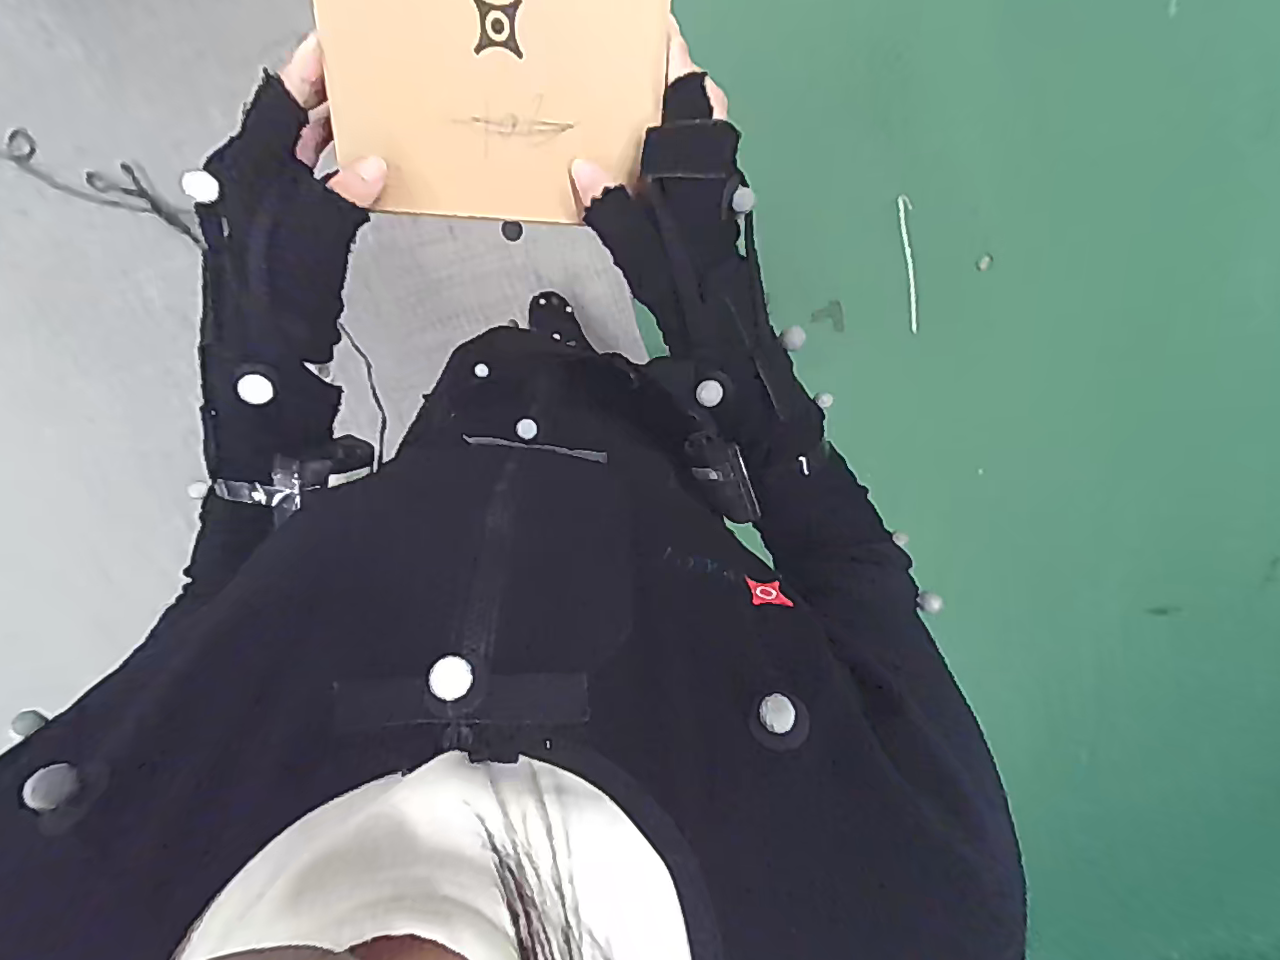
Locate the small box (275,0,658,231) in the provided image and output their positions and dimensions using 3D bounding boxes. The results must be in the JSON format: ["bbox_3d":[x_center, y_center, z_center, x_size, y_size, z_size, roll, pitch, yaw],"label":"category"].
[{"bbox_3d":[-0.080,-0.245,0.305,0.168,0.176,0.179,2,117,-5],"label":"small box"}]
